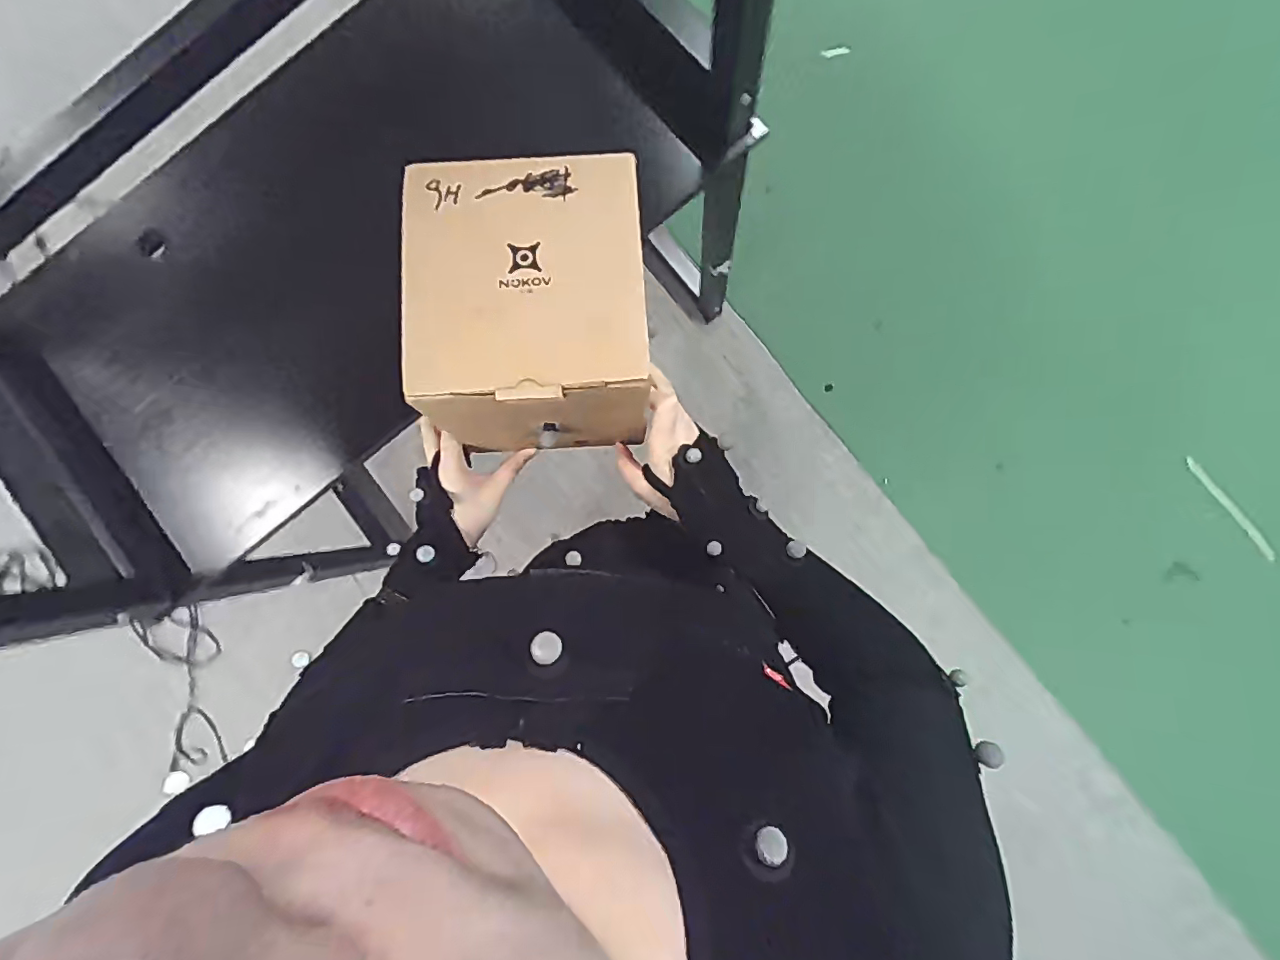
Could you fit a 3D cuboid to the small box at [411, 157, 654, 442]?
[{"bbox_3d":[-0.076,-0.130,0.450,0.168,0.176,0.179,-3,82,-3],"label":"small box"}]
